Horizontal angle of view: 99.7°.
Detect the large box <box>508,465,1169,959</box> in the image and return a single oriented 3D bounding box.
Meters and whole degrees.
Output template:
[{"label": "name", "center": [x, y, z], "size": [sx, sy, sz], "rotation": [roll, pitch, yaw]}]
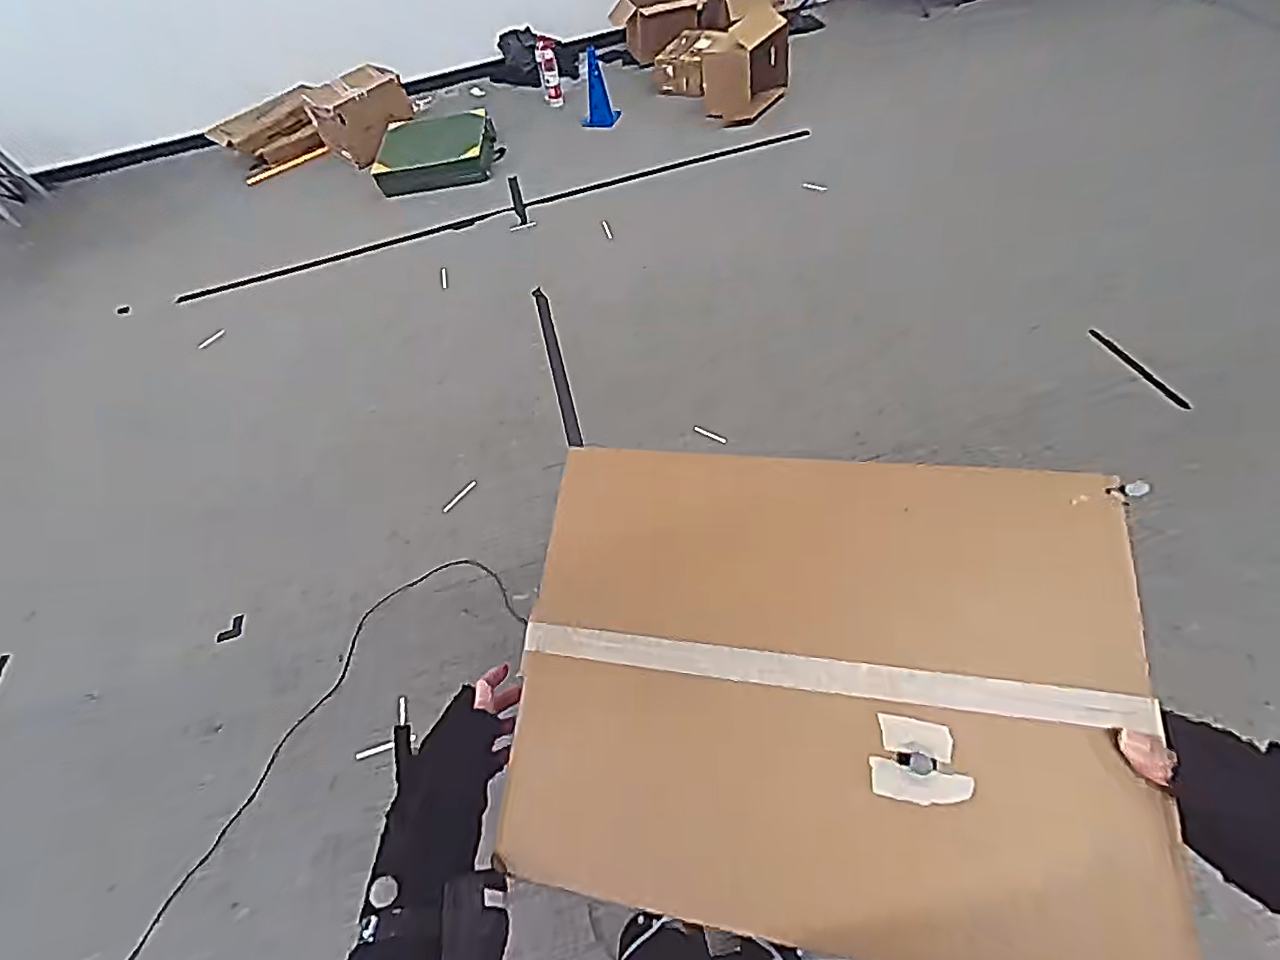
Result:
[{"label": "large box", "center": [0.141, 0.189, 0.522], "size": [0.408, 0.320, 0.320], "rotation": [3, 71, 12]}]
